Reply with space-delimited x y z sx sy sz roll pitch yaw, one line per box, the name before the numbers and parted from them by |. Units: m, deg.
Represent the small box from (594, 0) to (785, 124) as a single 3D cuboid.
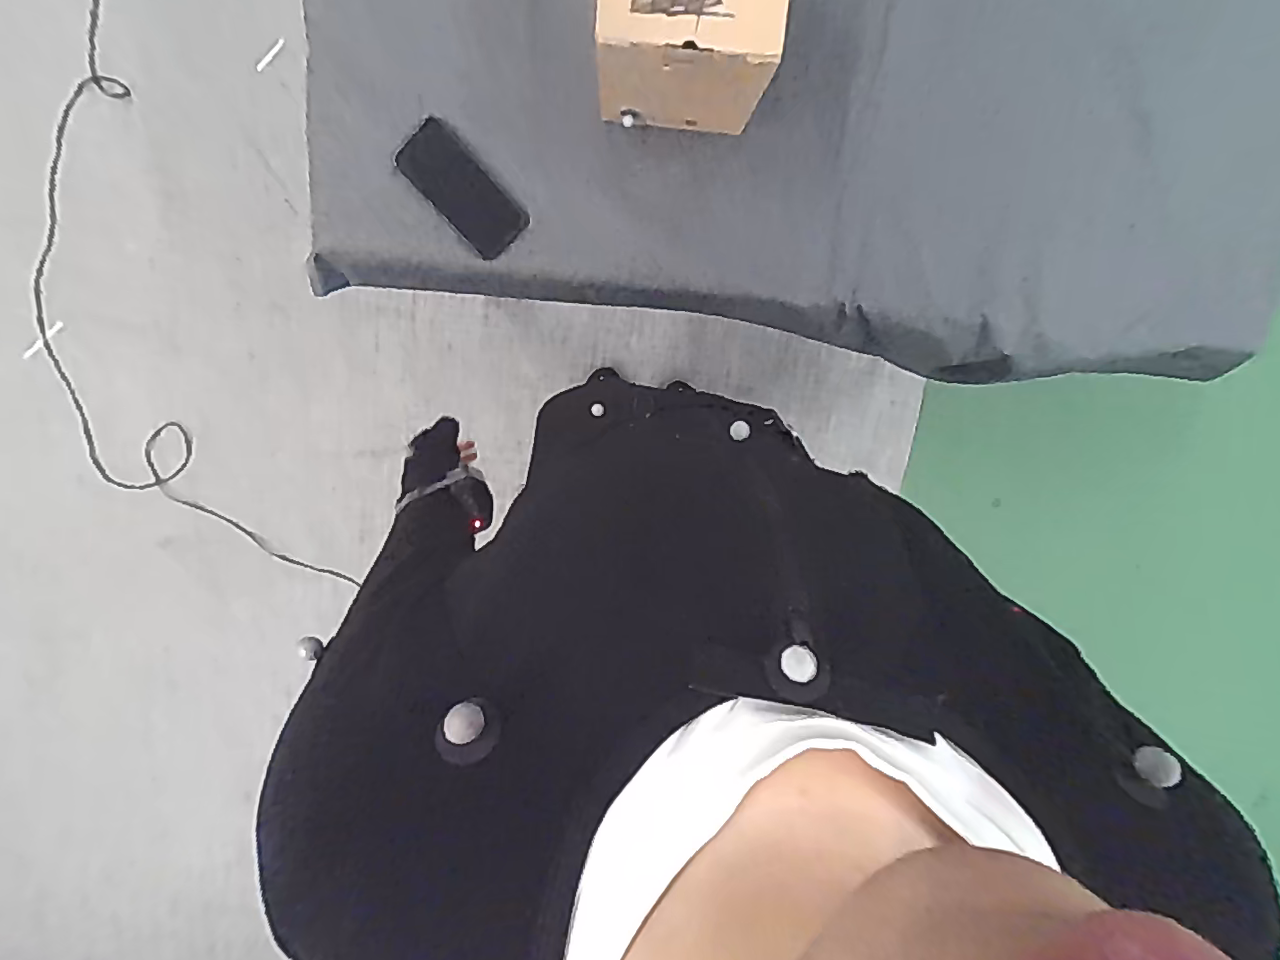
small box | 0.046 -0.481 0.530 0.168 0.176 0.179 4 102 -4
